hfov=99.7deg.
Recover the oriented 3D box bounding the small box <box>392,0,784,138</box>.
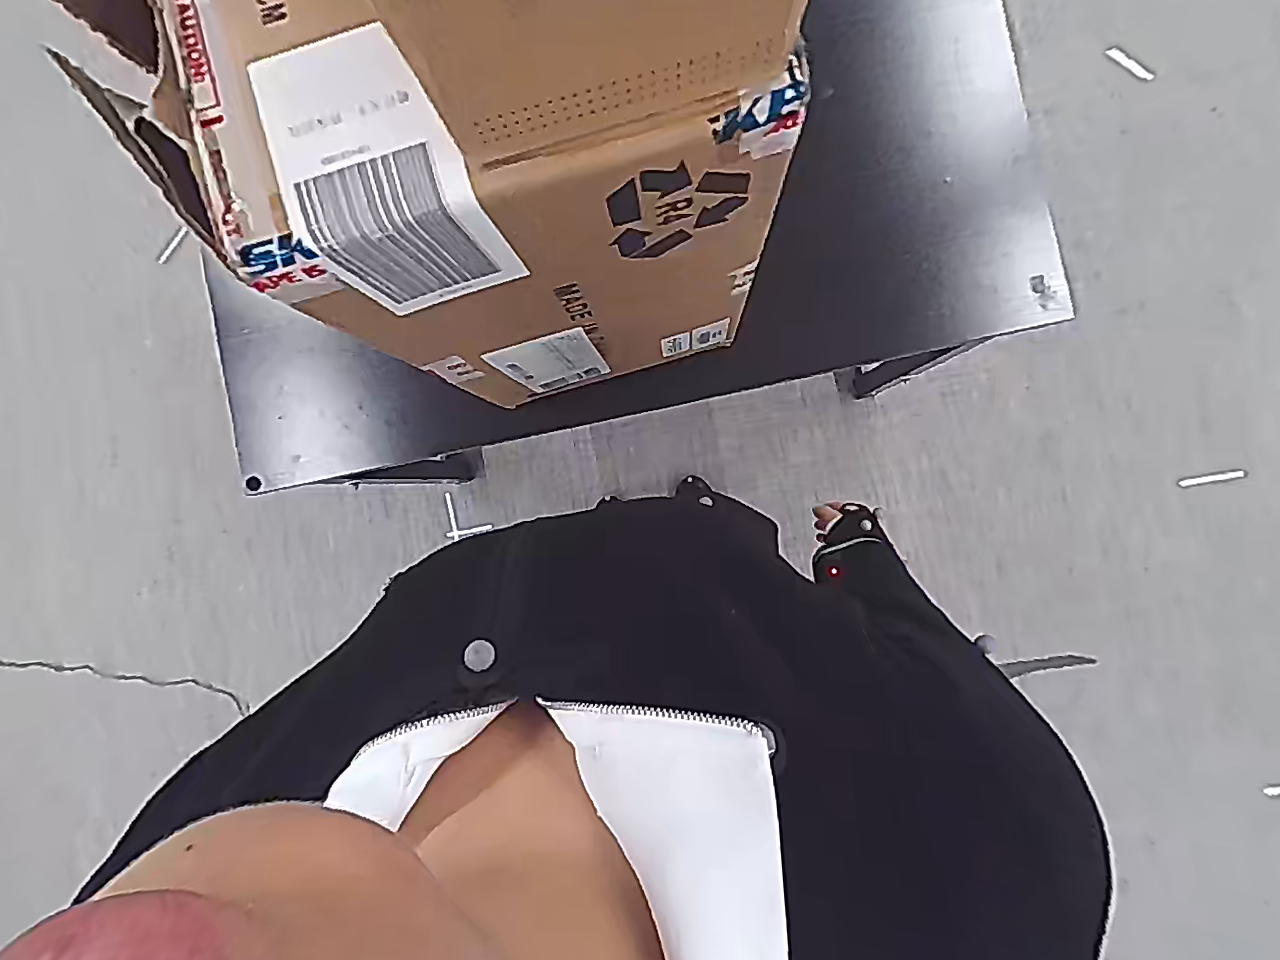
[{"bbox_3d":[-0.032,-0.275,0.208,0.179,0.176,0.168,-15,90,4],"label":"small box"}]
